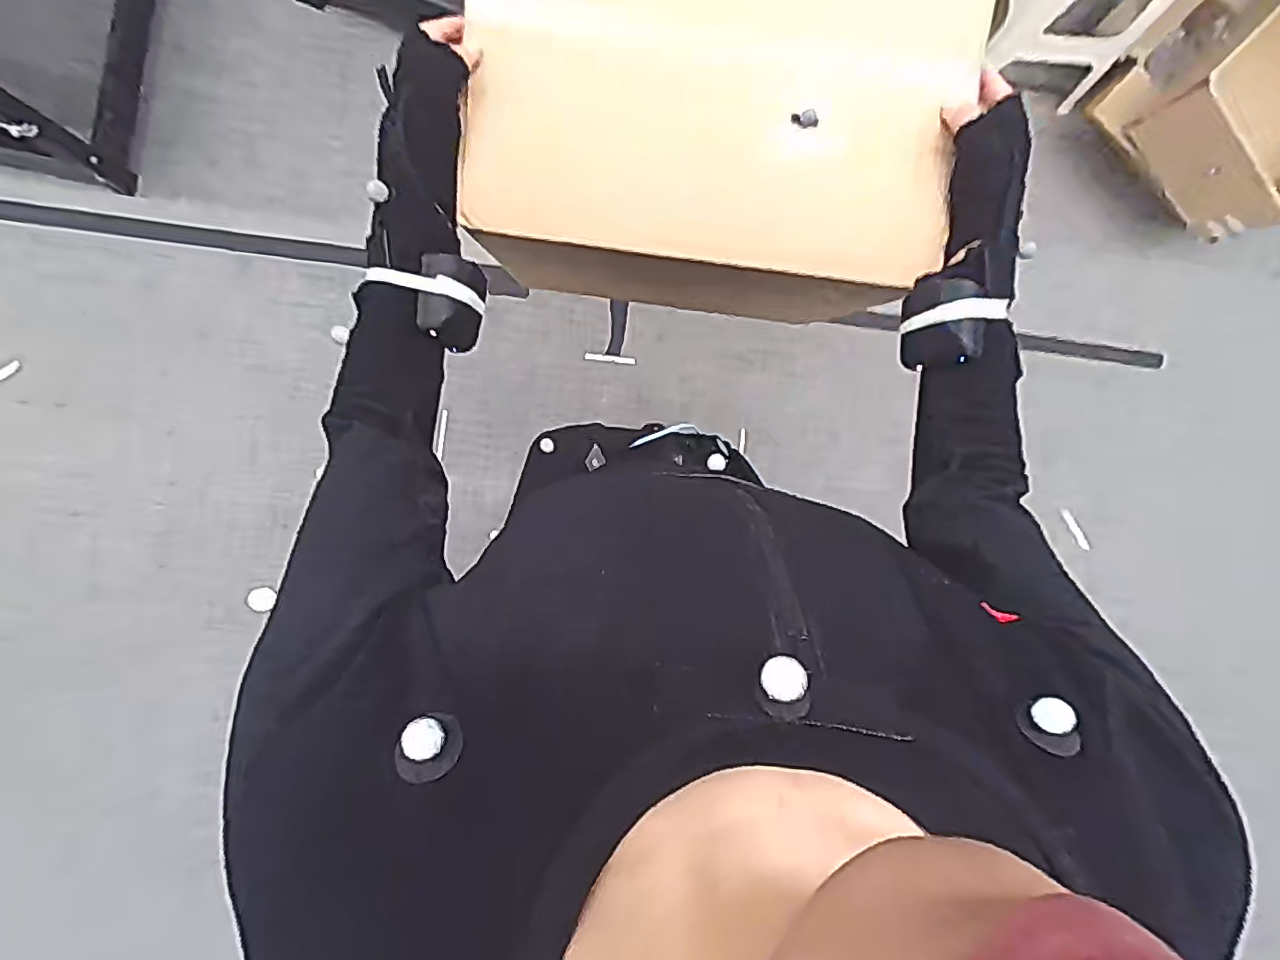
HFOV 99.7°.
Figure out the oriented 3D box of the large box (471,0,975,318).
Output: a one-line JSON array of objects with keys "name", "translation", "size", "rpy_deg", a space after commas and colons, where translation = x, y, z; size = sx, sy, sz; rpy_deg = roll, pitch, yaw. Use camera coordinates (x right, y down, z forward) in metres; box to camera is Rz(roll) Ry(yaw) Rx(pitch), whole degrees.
[{"name": "large box", "translation": [0.058, -0.369, 0.585], "size": [0.408, 0.320, 0.320], "rpy_deg": [6, 102, -5]}]
